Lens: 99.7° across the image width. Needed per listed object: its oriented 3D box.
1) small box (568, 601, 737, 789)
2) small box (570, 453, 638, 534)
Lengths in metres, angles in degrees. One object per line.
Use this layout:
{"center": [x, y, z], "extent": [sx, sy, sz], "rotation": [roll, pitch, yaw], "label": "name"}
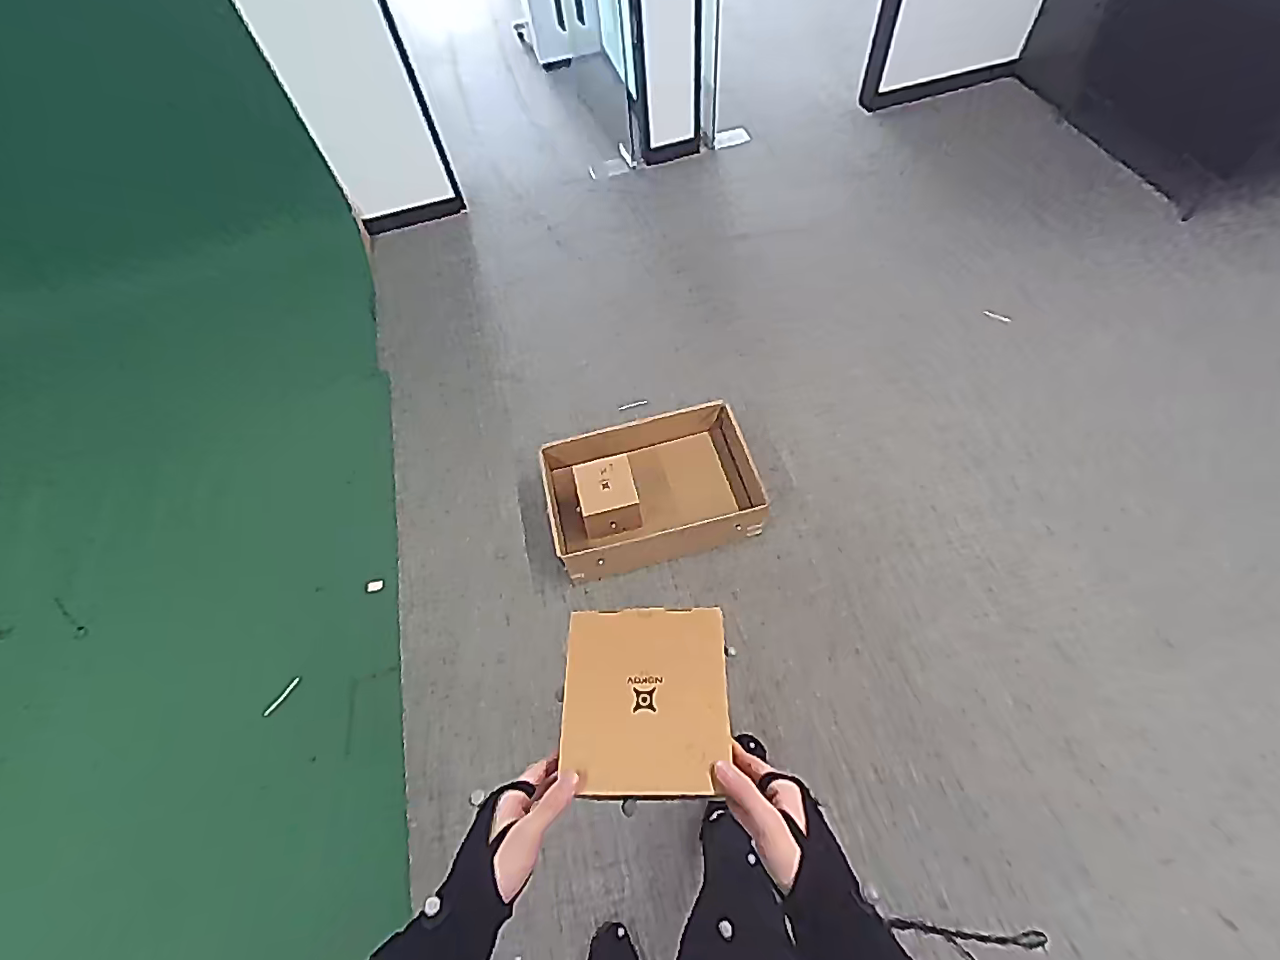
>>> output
{"center": [0.019, 0.253, 0.620], "extent": [0.168, 0.176, 0.179], "rotation": [-4, 58, 4], "label": "small box"}
{"center": [-0.105, 0.050, 1.636], "extent": [0.168, 0.176, 0.179], "rotation": [-13, 60, -4], "label": "small box"}
